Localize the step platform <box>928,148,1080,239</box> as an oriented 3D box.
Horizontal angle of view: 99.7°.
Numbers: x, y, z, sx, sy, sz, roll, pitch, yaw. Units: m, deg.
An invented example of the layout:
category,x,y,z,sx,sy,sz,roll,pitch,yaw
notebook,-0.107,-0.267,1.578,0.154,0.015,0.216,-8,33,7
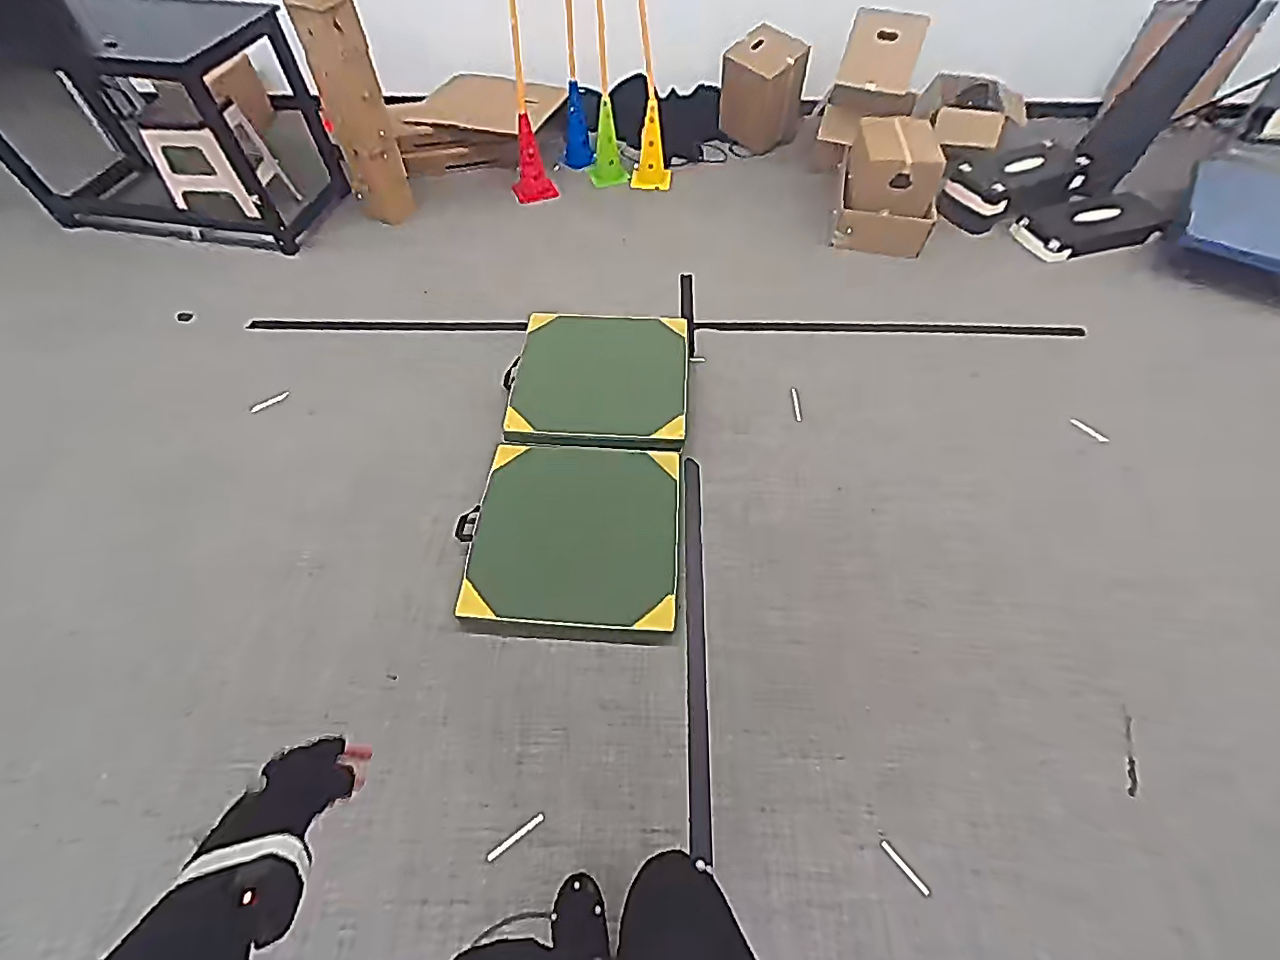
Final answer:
category,x,y,z,sx,sy,sz,roll,pitch,yaw
step platform,1.776,-1.405,2.637,0.684,0.204,0.286,-23,59,-15
